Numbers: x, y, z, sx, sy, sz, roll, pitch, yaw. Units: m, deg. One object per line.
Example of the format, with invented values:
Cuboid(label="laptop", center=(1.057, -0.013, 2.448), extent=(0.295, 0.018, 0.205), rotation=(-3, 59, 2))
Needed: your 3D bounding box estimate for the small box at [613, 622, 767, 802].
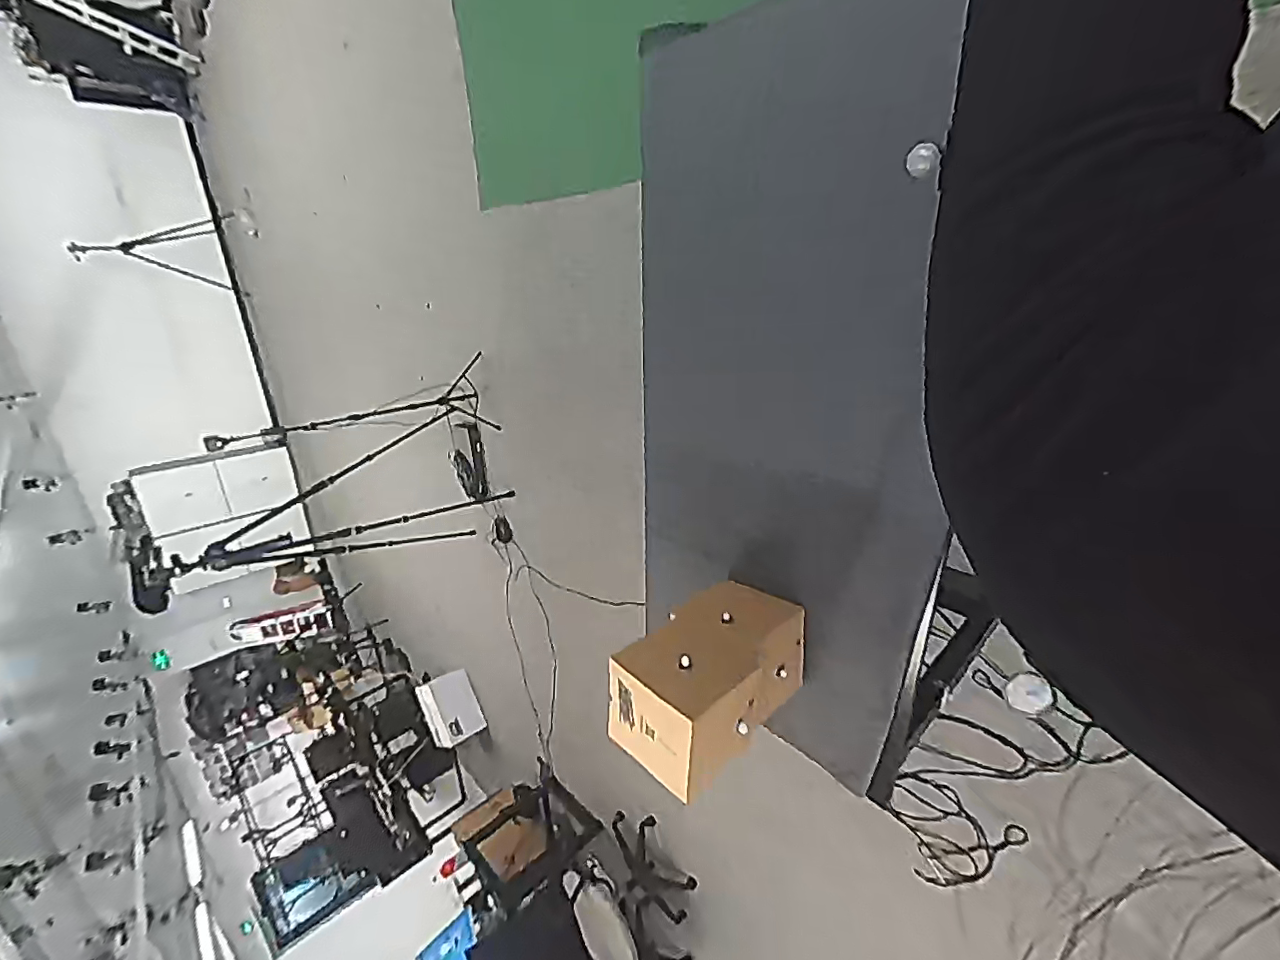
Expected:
Cuboid(label="small box", center=(0.075, 0.352, 0.864), extent=(0.179, 0.176, 0.168), rotation=(22, 121, 41))

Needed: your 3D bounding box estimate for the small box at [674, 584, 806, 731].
Cuboid(label="small box", center=(0.184, 0.307, 0.979), extent=(0.179, 0.176, 0.168), rotation=(14, 114, 46))
